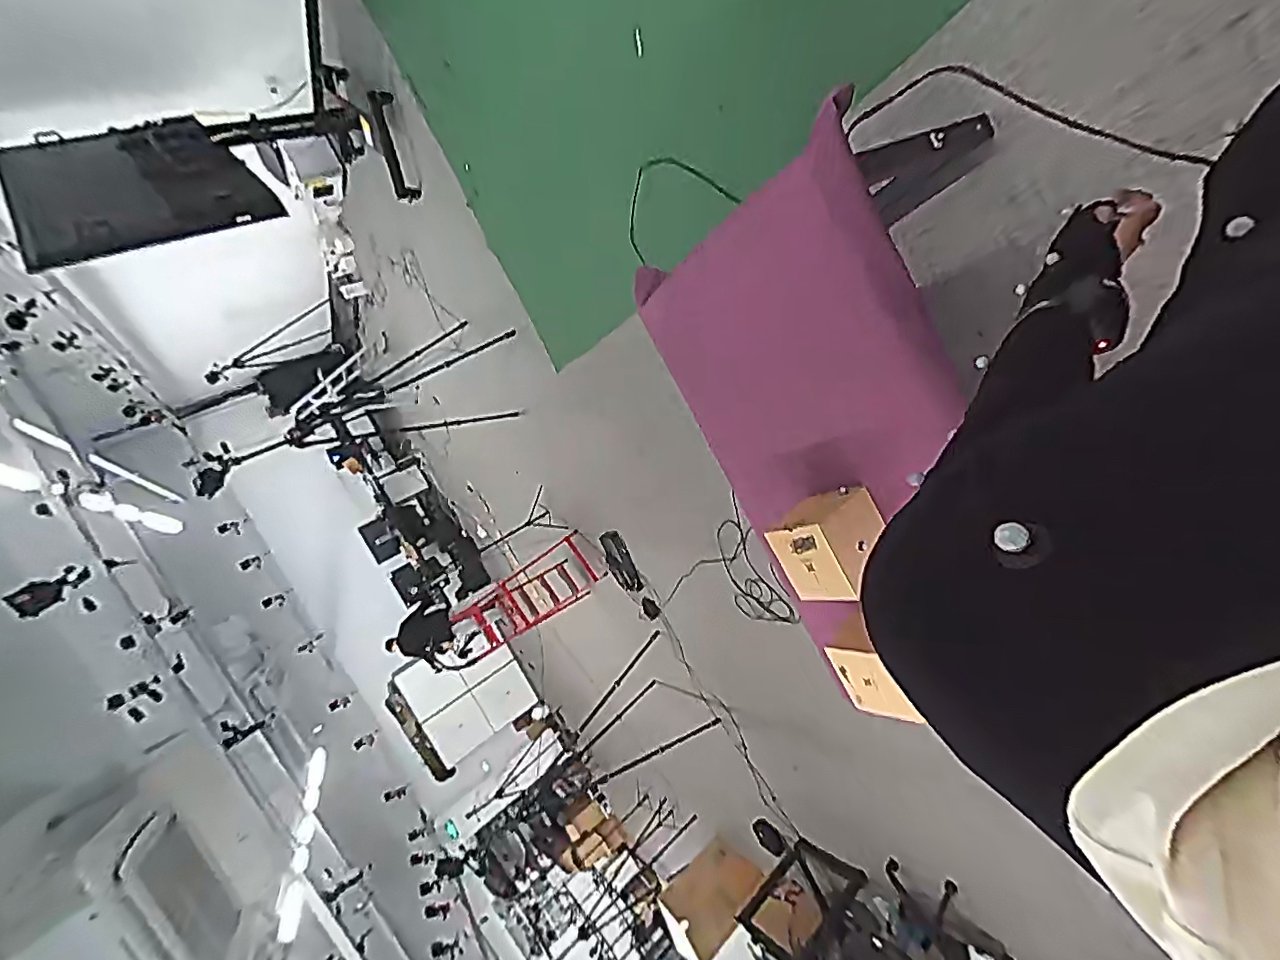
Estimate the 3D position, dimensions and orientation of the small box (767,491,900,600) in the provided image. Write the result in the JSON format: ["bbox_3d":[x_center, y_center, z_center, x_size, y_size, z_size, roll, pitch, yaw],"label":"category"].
[{"bbox_3d":[0.414,0.137,1.156,0.179,0.176,0.168,60,151,-4],"label":"small box"}]

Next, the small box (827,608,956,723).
[{"bbox_3d":[0.553,0.392,1.178,0.168,0.176,0.179,61,150,-3],"label":"small box"}]
